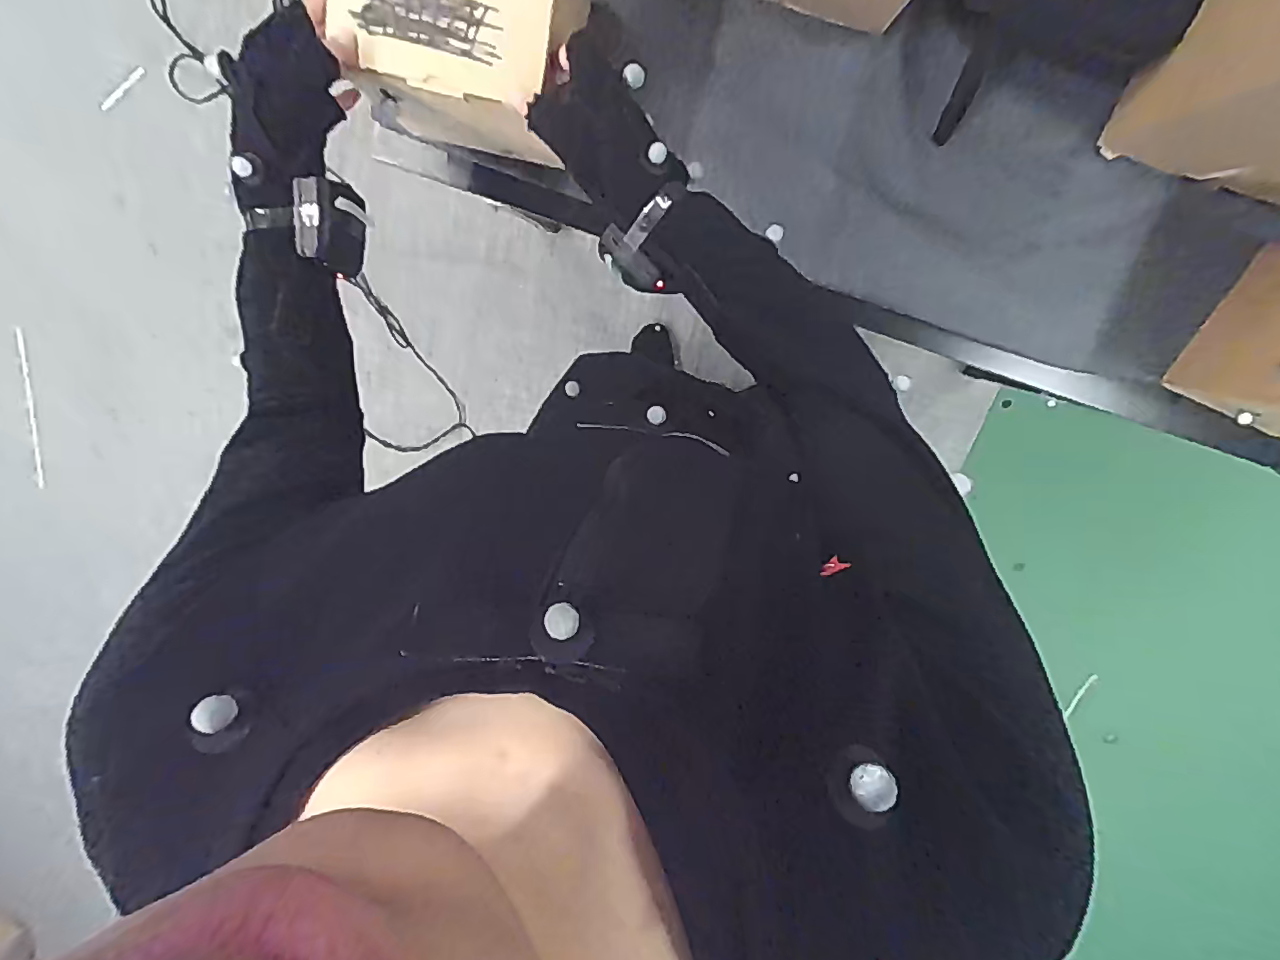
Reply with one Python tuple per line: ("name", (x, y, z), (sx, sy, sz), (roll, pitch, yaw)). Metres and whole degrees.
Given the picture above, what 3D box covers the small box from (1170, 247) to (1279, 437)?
("small box", (0.734, -0.133, 0.560), (0.168, 0.176, 0.179), (23, 111, -3))
